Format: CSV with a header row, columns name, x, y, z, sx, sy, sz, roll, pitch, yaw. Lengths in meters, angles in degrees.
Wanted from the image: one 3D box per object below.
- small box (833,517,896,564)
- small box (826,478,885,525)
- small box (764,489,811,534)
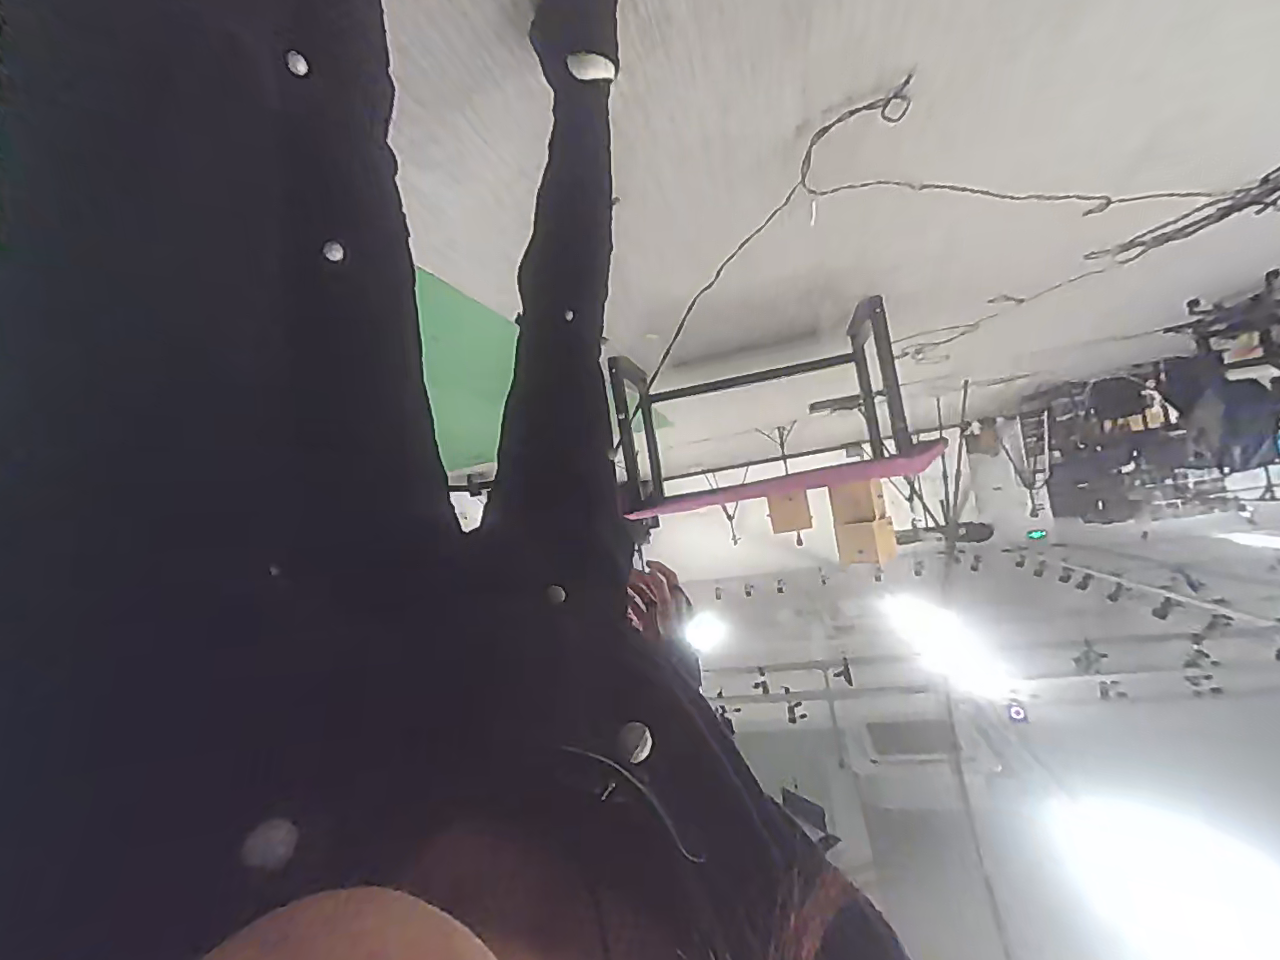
name,x,y,z,sx,sy,sz,roll,pitch,yaw
small box,0.926,0.246,2.239,0.168,0.176,0.179,-7,177,-40
small box,0.901,0.084,2.263,0.179,0.176,0.168,-12,176,38
small box,0.631,0.131,2.325,0.168,0.176,0.179,-11,177,12
